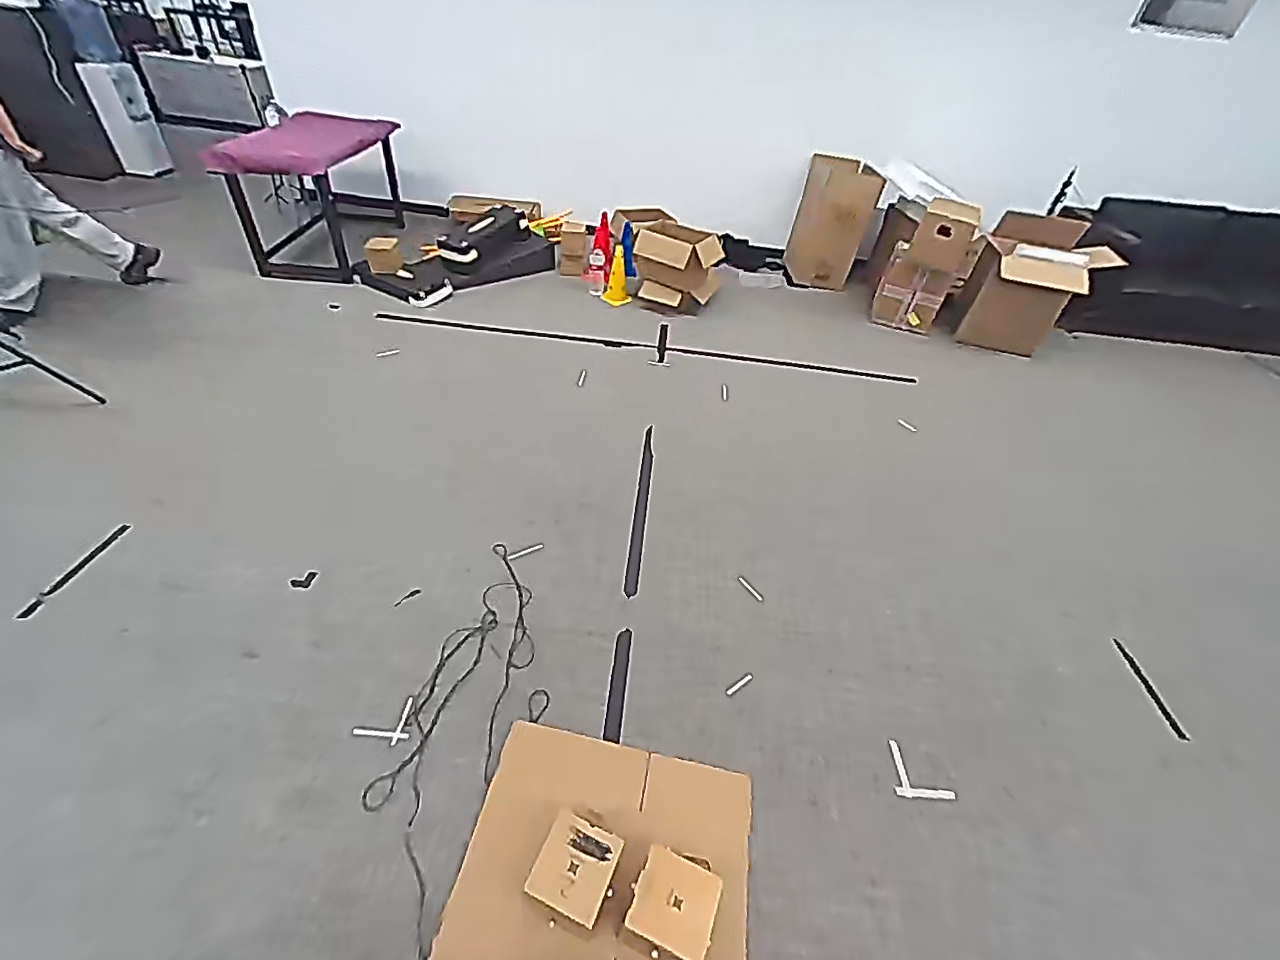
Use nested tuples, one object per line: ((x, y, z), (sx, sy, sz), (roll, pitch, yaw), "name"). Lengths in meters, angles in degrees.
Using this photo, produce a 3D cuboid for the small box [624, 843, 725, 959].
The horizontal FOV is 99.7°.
((0.075, 0.973, 1.229), (0.179, 0.176, 0.168), (19, 43, 14), "small box")
